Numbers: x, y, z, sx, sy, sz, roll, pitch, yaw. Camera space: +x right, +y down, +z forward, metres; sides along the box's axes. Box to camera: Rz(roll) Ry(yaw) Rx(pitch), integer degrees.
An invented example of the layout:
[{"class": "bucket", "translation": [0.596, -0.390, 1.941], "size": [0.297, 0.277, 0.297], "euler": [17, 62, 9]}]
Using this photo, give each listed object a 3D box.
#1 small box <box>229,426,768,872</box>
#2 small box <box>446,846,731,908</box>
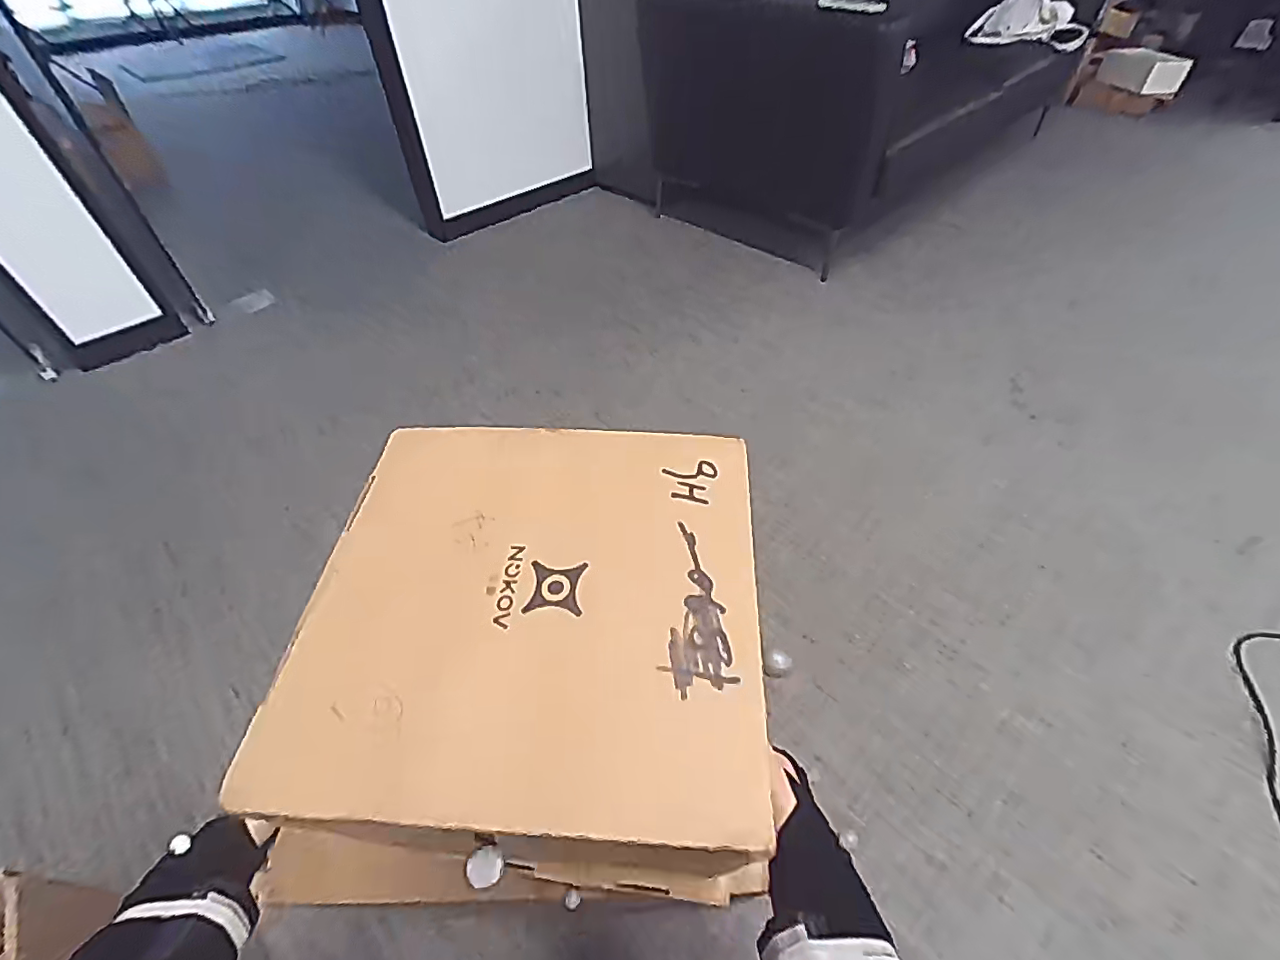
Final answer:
[{"class": "small box", "translation": [-0.037, 0.090, 0.276], "size": [0.179, 0.176, 0.168], "euler": [2, 52, 5]}, {"class": "small box", "translation": [-0.020, 0.194, 0.403], "size": [0.168, 0.176, 0.179], "euler": [6, 53, 6]}]
